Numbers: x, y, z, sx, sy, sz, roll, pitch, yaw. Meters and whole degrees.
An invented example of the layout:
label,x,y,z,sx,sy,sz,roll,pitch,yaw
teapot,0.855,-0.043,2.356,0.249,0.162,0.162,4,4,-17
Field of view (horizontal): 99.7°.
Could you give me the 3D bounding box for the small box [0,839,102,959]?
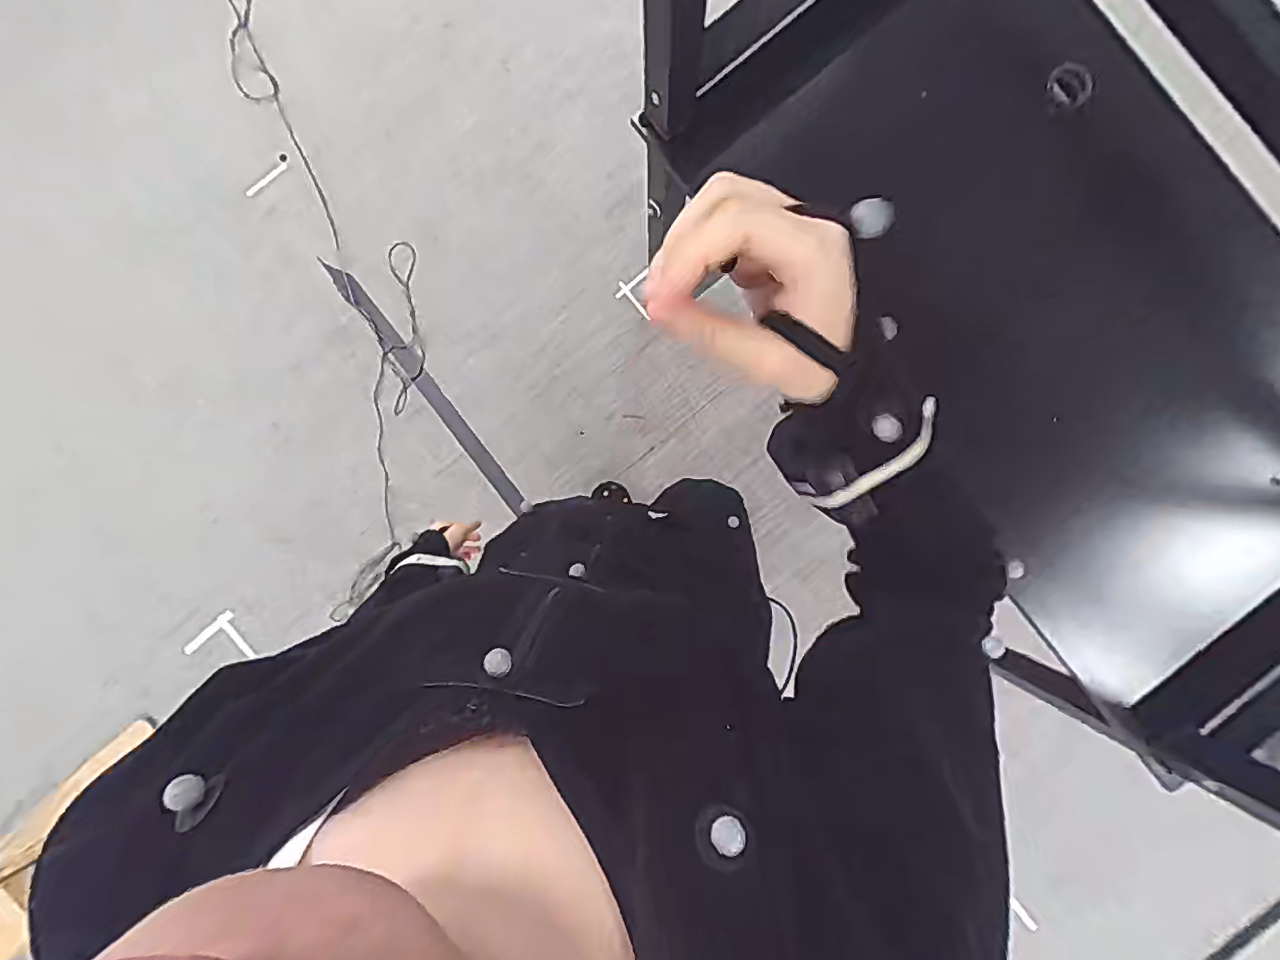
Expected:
label,x,y,z,sx,sy,sz,roll,pitch,yaw
small box,-1.616,1.101,1.433,0.168,0.176,0.179,-44,89,2
